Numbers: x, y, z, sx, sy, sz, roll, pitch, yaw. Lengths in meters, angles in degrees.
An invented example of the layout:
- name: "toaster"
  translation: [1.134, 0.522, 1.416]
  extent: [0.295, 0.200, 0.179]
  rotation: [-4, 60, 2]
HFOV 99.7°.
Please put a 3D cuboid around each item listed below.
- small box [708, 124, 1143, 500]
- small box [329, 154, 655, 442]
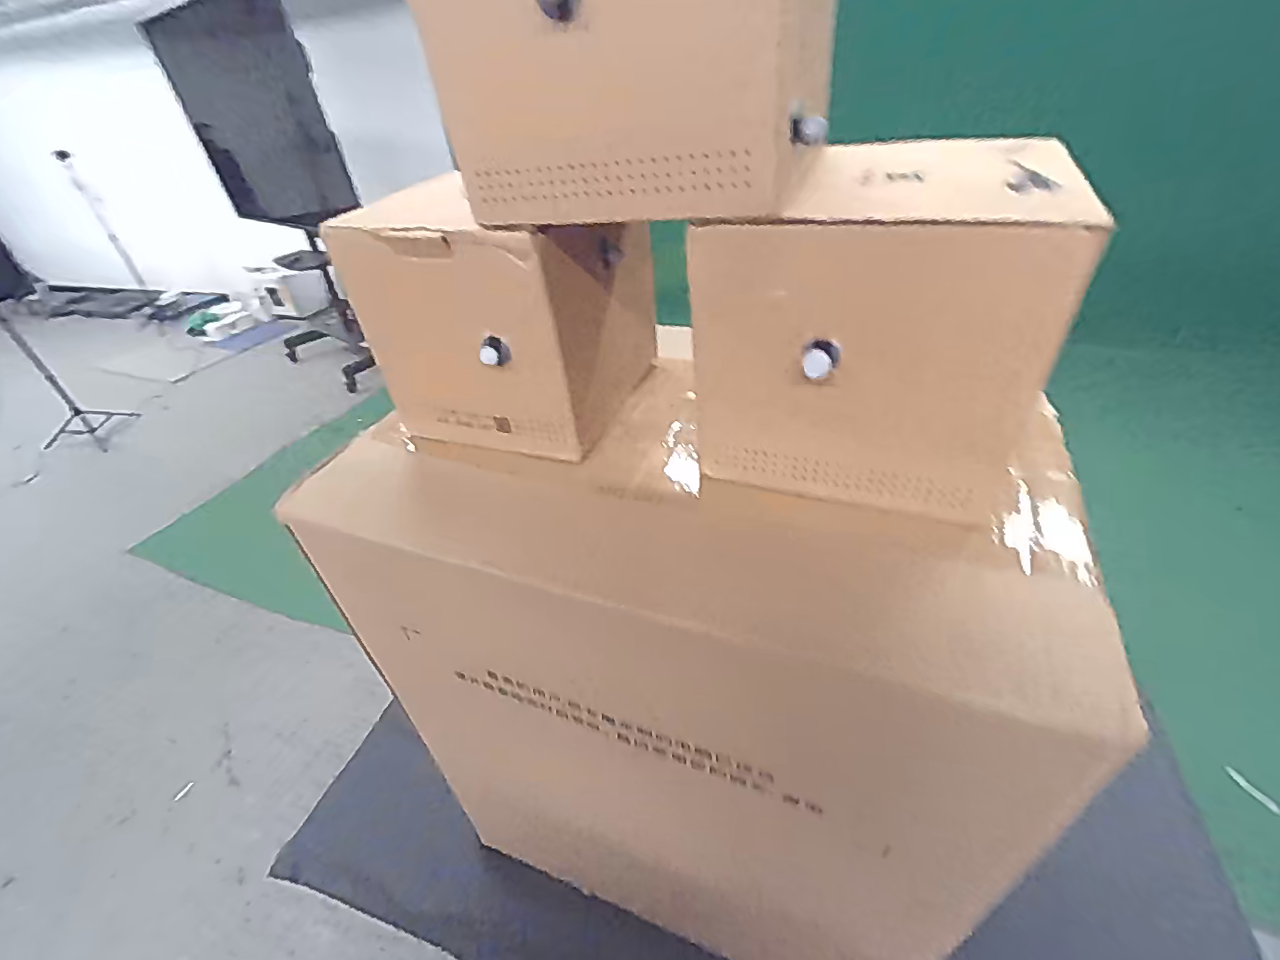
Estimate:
- name: "small box"
  translation: [0.150, -0.108, 0.339]
  extent: [0.179, 0.176, 0.168]
  rotation: [11, 42, 21]
- name: "small box"
  translation: [-0.089, -0.149, 0.426]
  extent: [0.168, 0.176, 0.179]
  rotation: [11, 40, 18]
